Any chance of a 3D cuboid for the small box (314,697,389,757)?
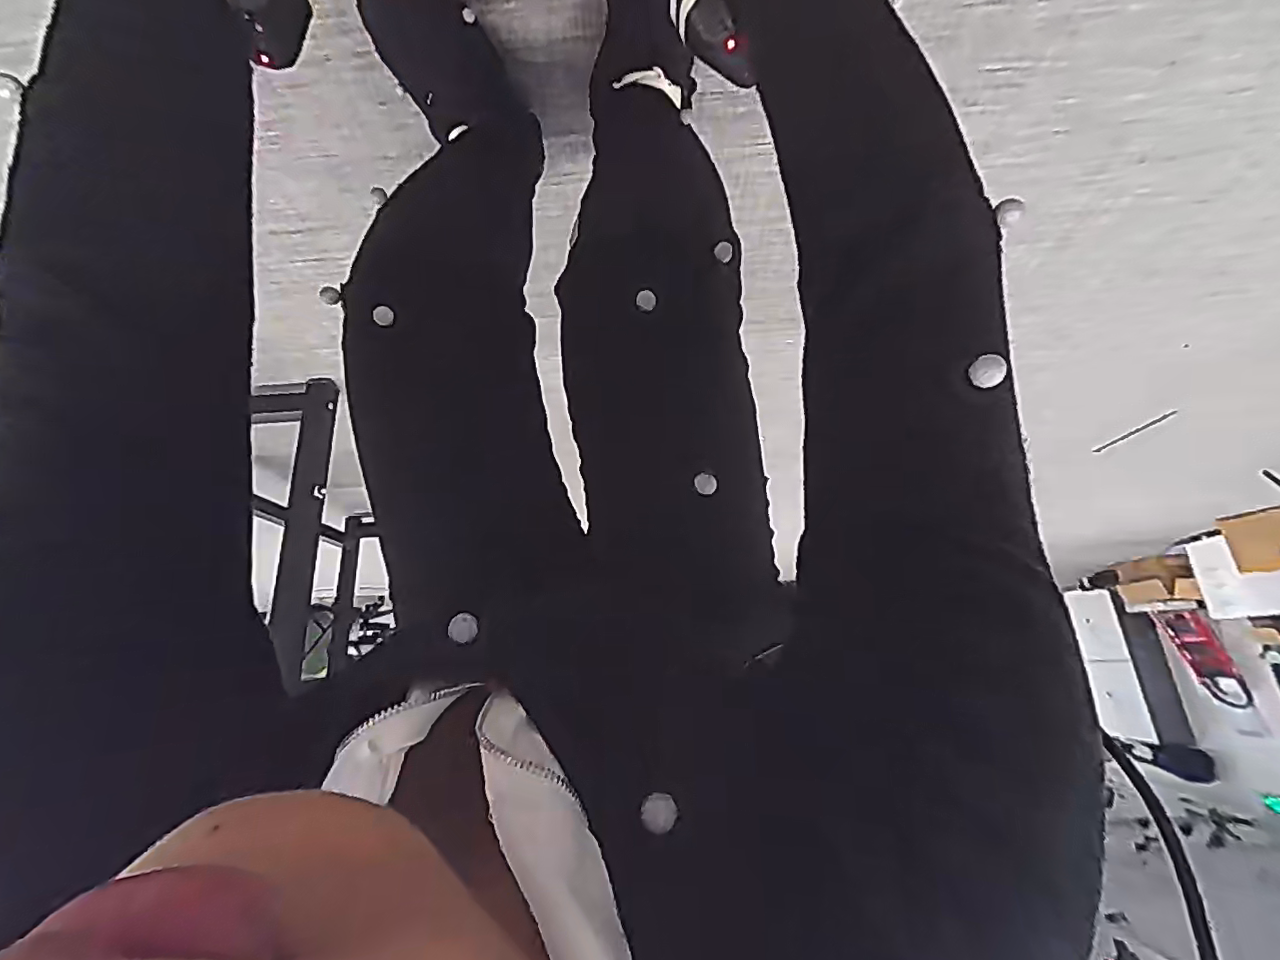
[{"bbox_3d":[-0.977,0.837,1.847,0.179,0.176,0.168,-3,160,-2],"label":"small box"}]
